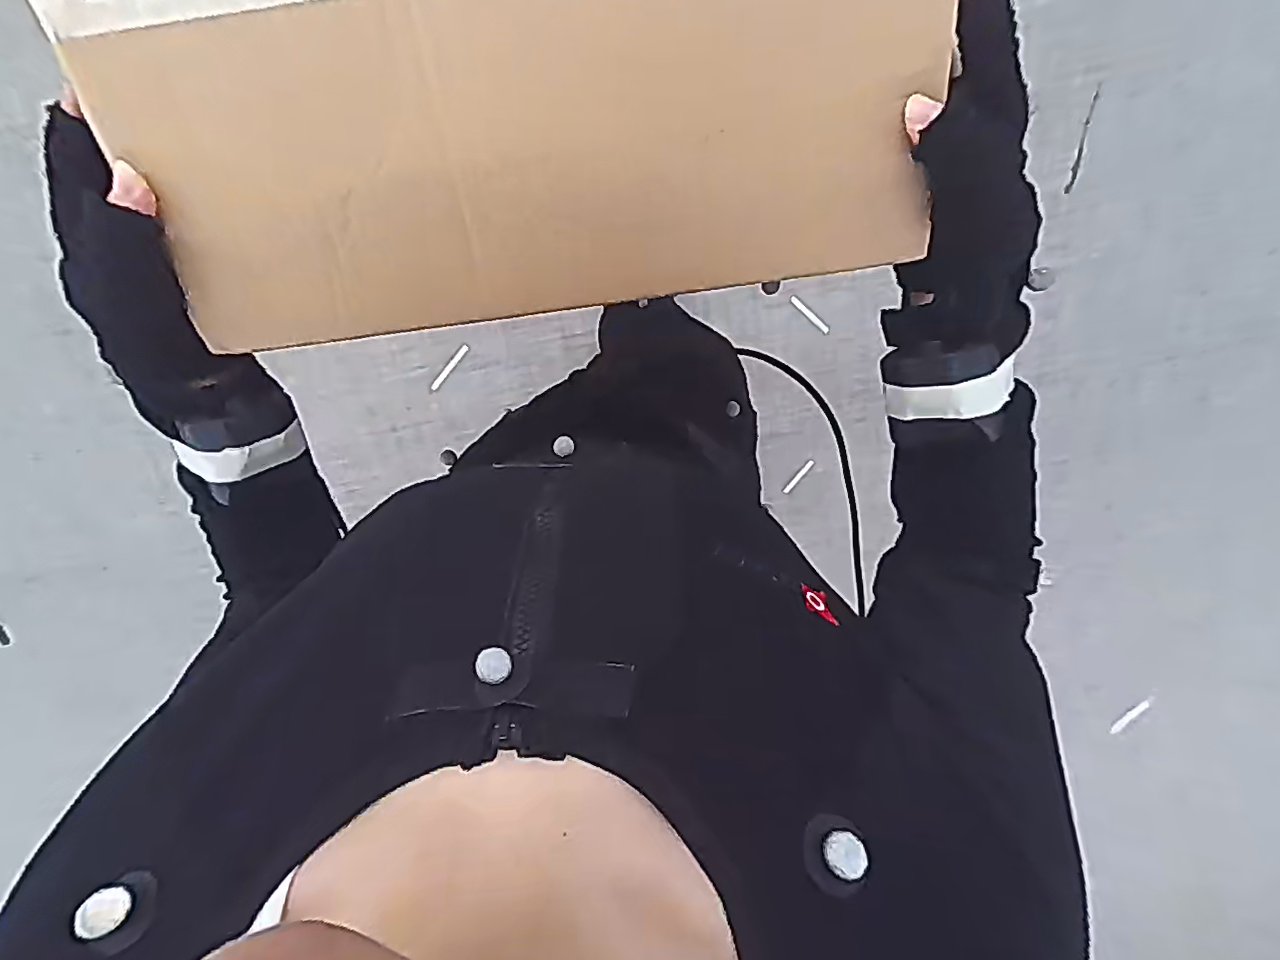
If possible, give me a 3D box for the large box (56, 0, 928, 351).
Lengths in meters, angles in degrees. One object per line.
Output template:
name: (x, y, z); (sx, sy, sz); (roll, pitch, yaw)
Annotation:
large box: (-0.068, -0.307, 0.371); (0.408, 0.320, 0.320); (-7, 117, 4)
